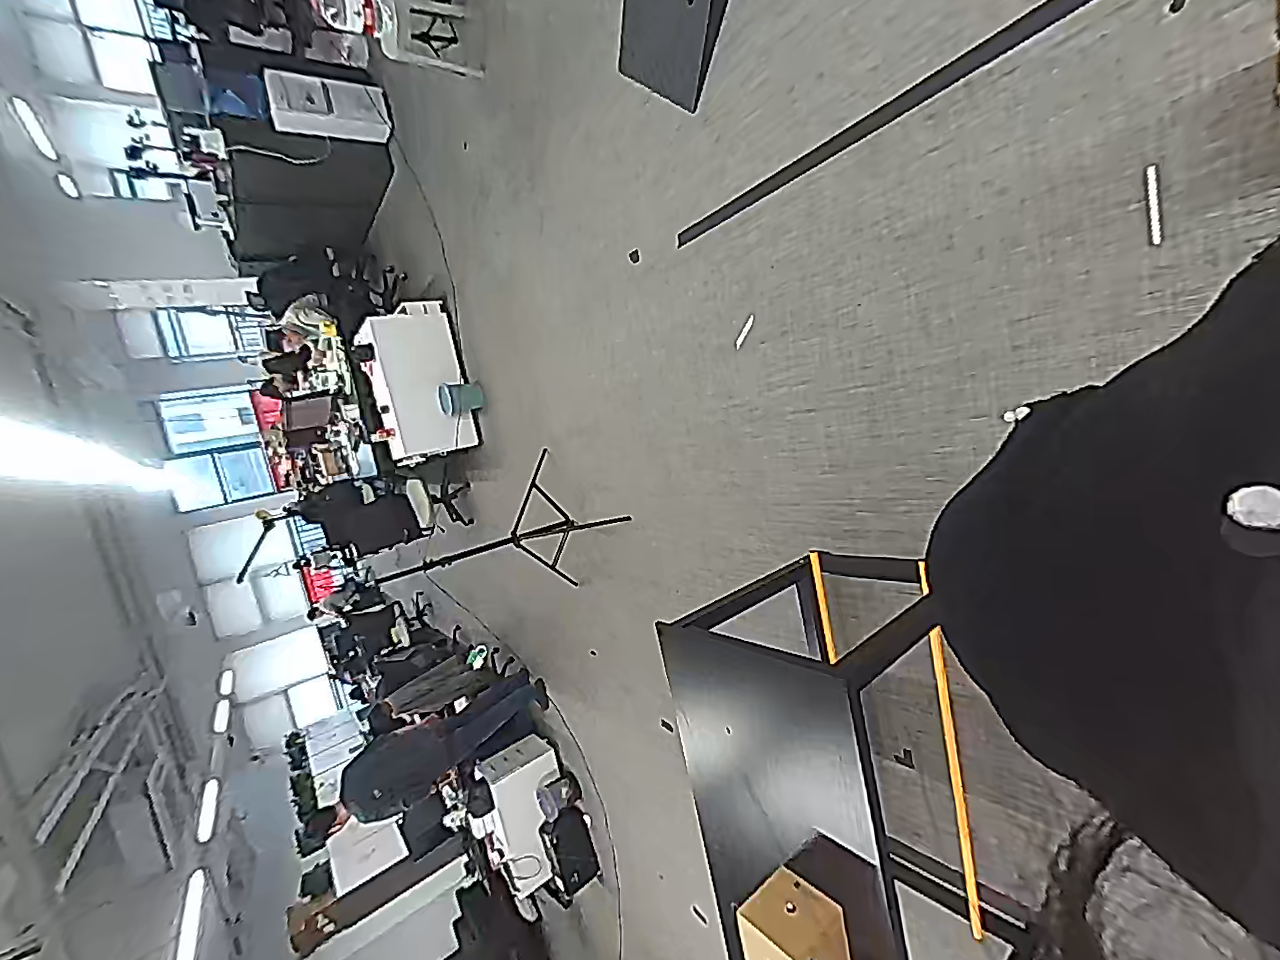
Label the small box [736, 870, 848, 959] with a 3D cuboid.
[{"bbox_3d":[0.344,1.035,1.209,0.168,0.176,0.179,-1,103,55],"label":"small box"}]
